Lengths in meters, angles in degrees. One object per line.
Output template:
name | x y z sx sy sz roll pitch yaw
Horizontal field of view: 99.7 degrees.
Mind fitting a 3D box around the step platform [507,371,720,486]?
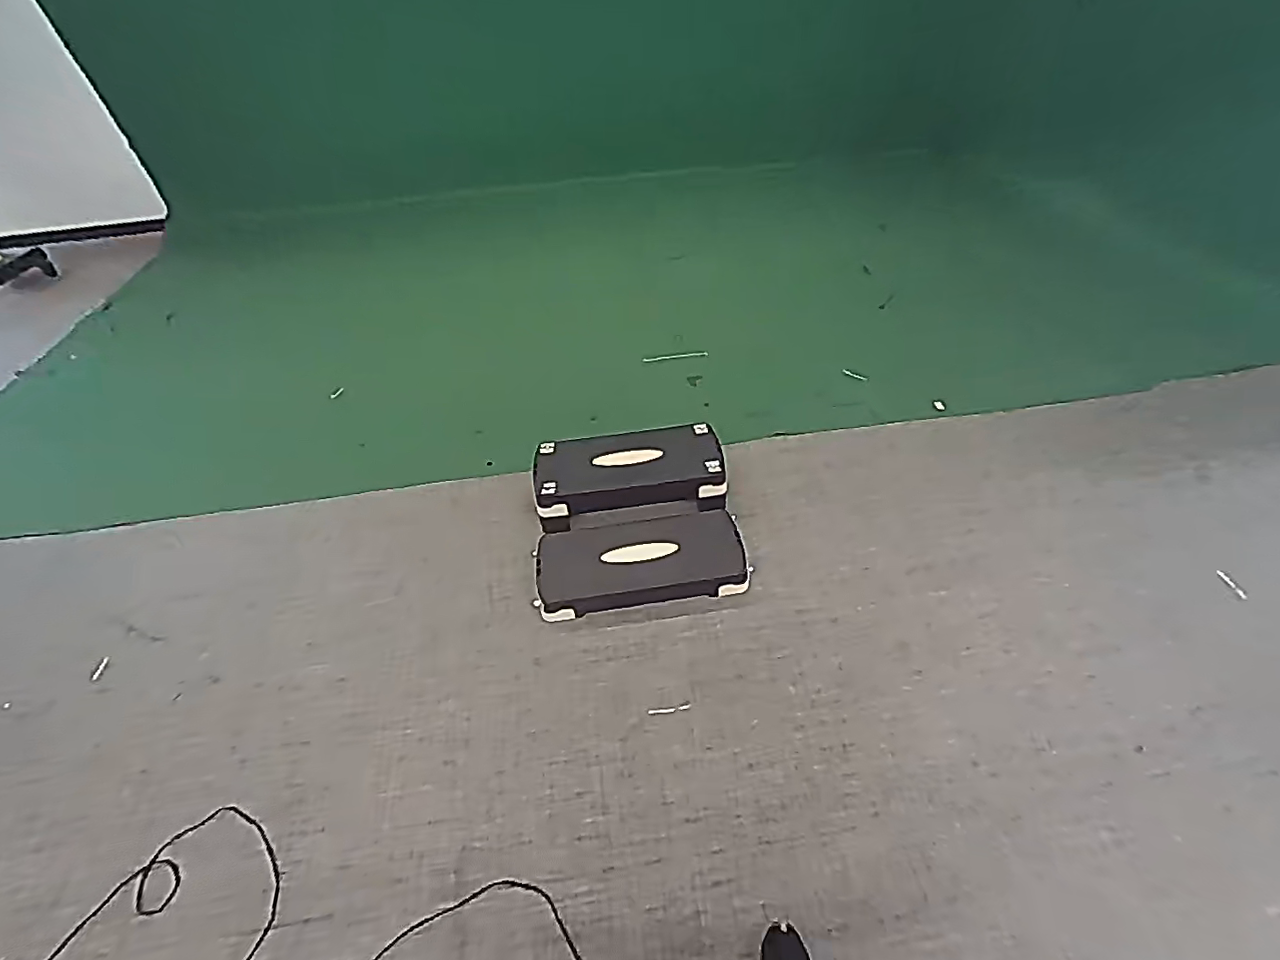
step platform | -0.084 -0.173 1.815 0.684 0.204 0.286 -8 47 -3
